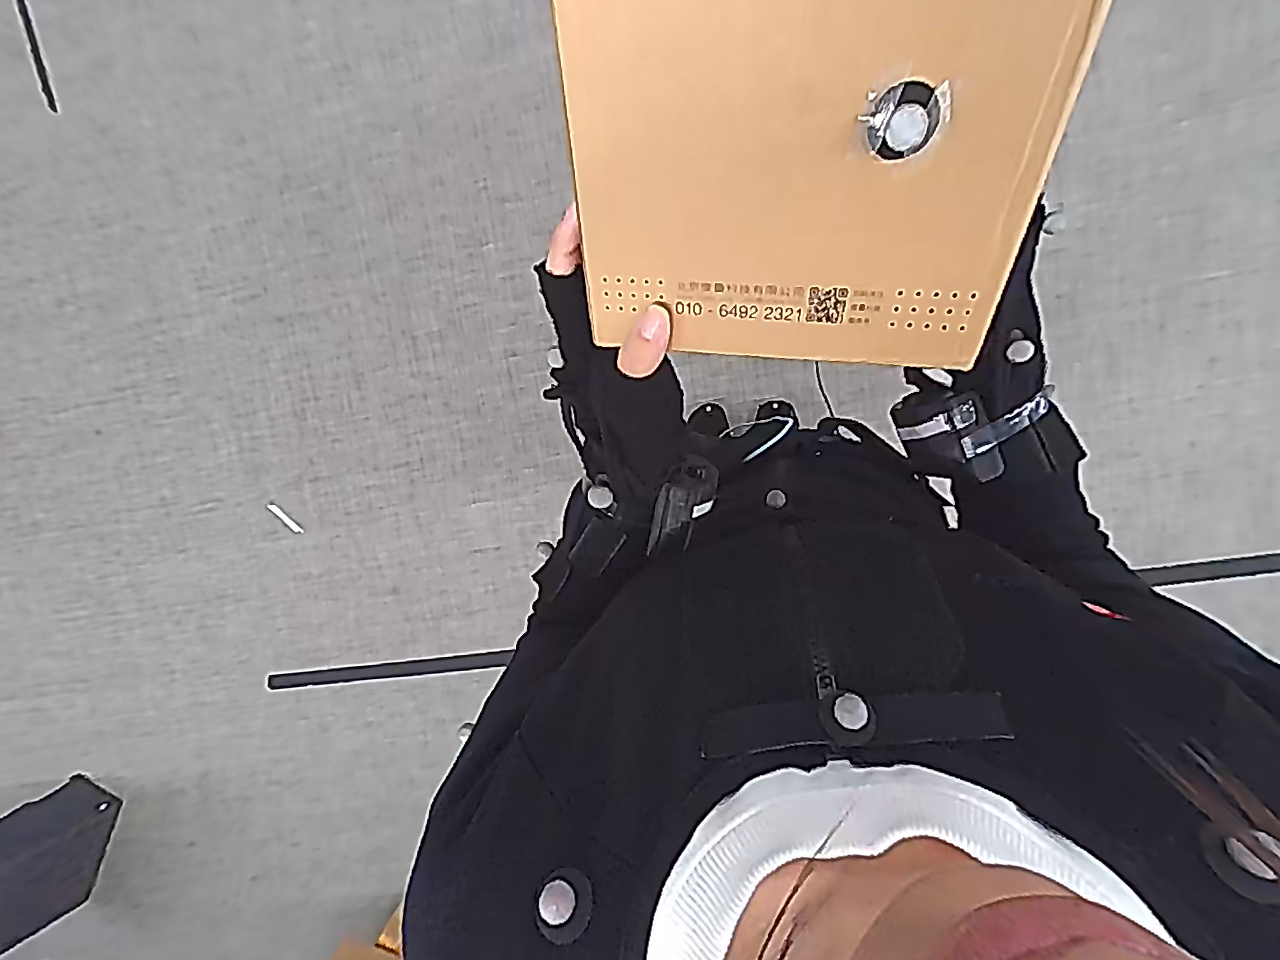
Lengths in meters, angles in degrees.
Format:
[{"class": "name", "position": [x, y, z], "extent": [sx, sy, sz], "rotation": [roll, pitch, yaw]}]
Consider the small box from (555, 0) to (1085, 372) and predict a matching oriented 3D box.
[{"class": "small box", "position": [0.077, -0.167, 0.256], "extent": [0.168, 0.179, 0.176], "rotation": [8, 132, 14]}]
